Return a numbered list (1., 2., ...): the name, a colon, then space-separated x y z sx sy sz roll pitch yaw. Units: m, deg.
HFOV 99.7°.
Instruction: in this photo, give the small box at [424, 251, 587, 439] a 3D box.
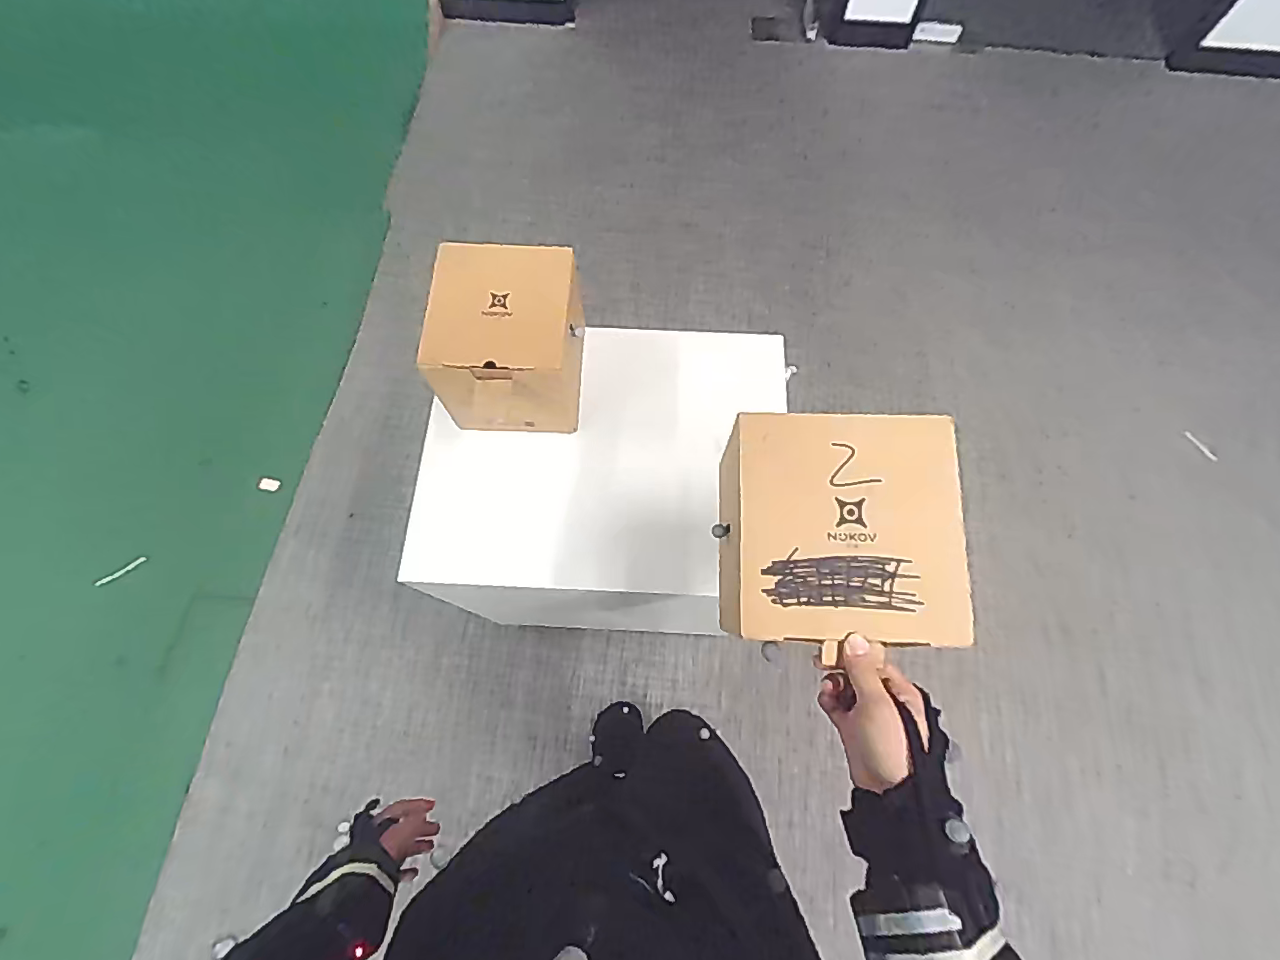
1. small box: -0.161 -0.170 0.712 0.168 0.176 0.179 2 71 0
